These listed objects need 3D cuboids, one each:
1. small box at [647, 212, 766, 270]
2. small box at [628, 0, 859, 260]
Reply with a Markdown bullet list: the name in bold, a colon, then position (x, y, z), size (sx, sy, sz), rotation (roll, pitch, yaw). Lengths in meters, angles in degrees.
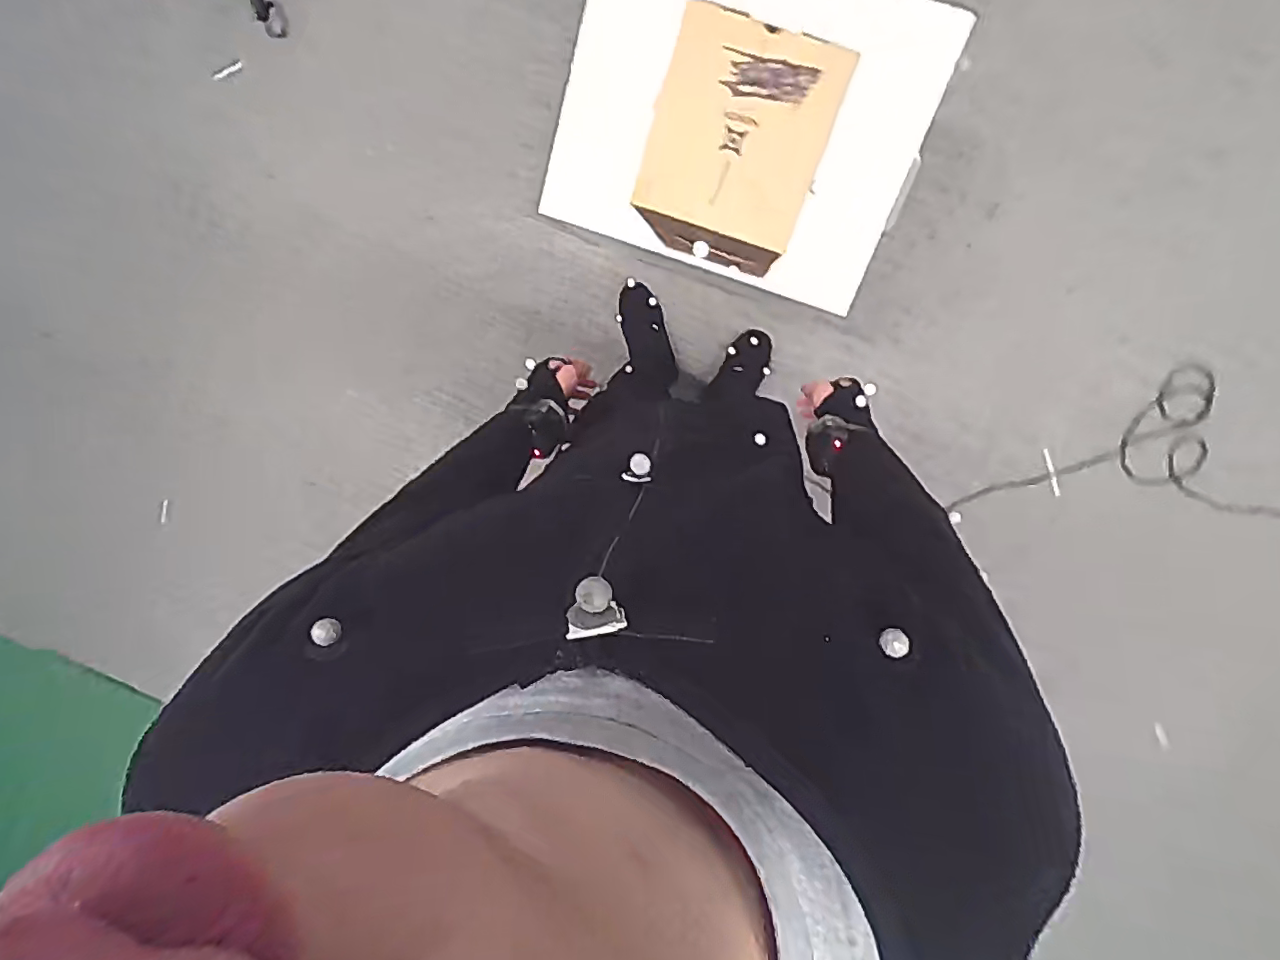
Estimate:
- **small box**: position (0.123, -0.401, 0.735), size (0.168, 0.176, 0.179), rotation (20, 107, 1)
- **small box**: position (0.101, -0.354, 0.579), size (0.168, 0.176, 0.179), rotation (21, 110, 2)
